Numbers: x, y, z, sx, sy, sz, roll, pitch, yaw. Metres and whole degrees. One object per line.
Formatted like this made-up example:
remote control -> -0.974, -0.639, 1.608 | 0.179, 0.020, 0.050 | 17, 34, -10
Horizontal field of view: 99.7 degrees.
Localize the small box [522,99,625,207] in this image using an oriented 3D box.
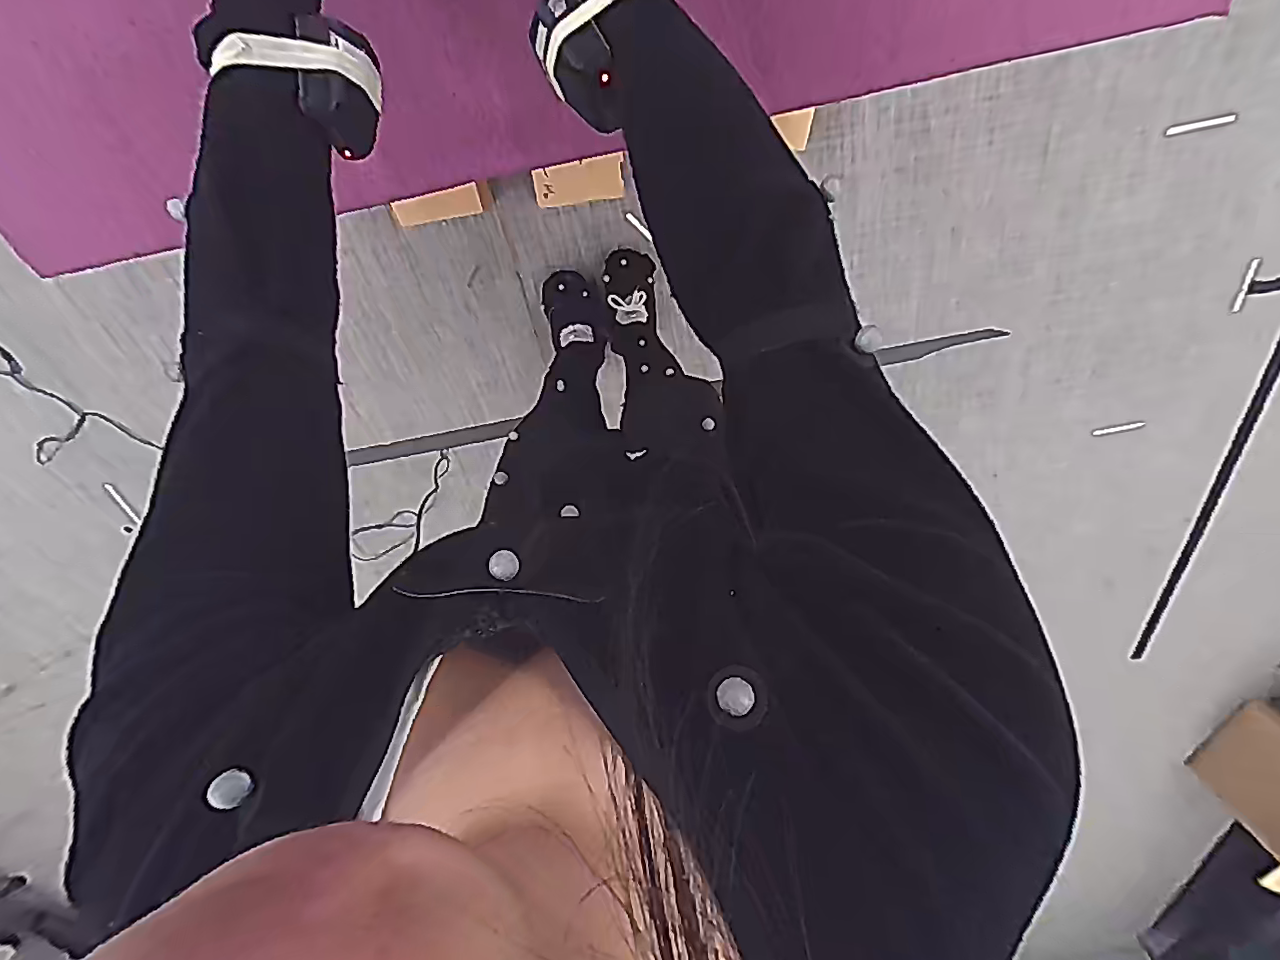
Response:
small box -> -0.130, -0.660, 1.088 | 0.179, 0.176, 0.168 | -8, 123, -1
